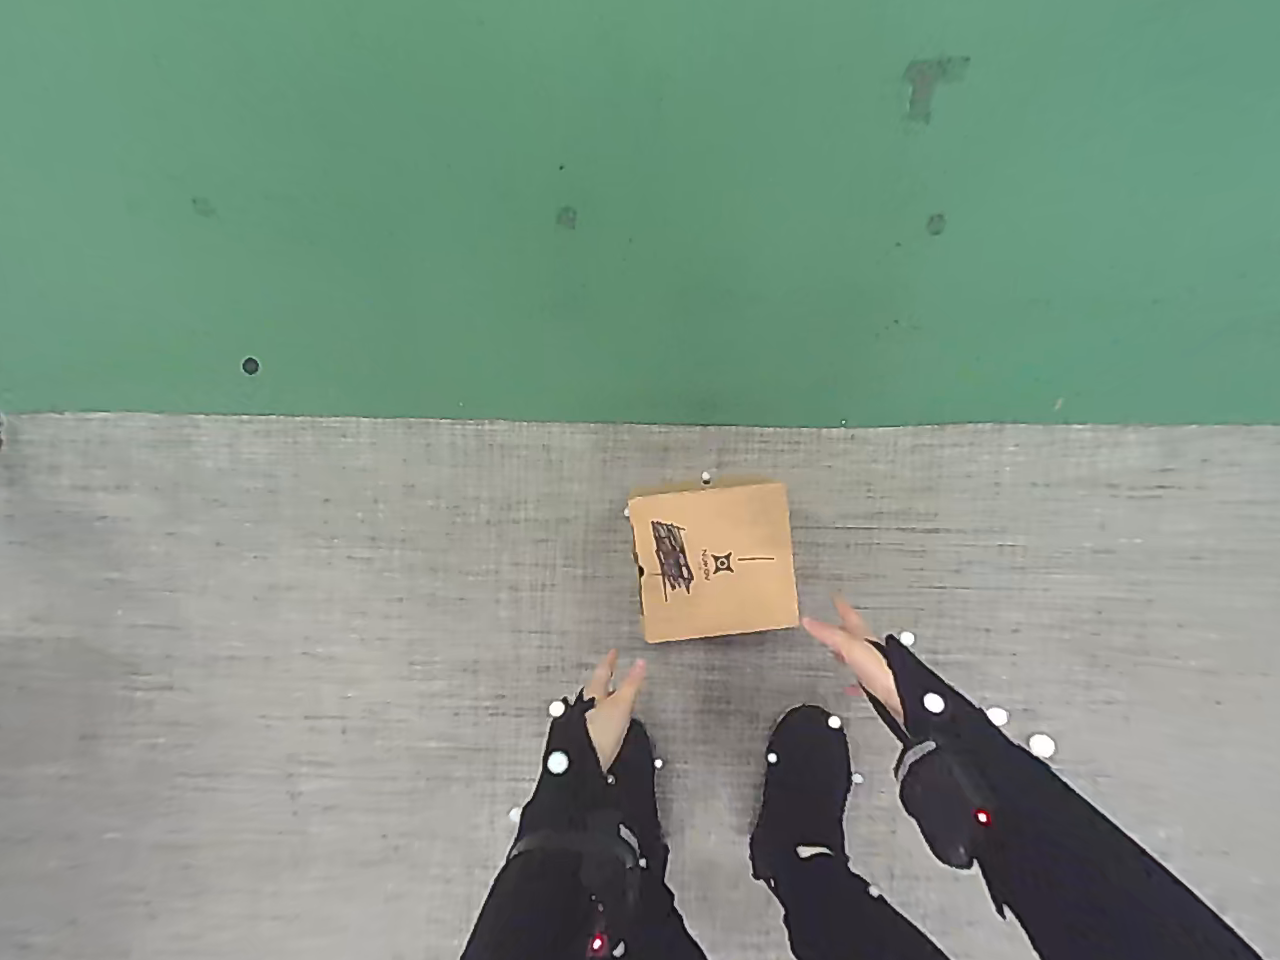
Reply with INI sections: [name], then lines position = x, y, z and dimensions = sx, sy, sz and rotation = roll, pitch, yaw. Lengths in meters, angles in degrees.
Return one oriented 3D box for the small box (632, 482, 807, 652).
[small box]
position = 0.088, 0.095, 0.662
dimensions = 0.179, 0.176, 0.168
rotation = -7, 93, 1
